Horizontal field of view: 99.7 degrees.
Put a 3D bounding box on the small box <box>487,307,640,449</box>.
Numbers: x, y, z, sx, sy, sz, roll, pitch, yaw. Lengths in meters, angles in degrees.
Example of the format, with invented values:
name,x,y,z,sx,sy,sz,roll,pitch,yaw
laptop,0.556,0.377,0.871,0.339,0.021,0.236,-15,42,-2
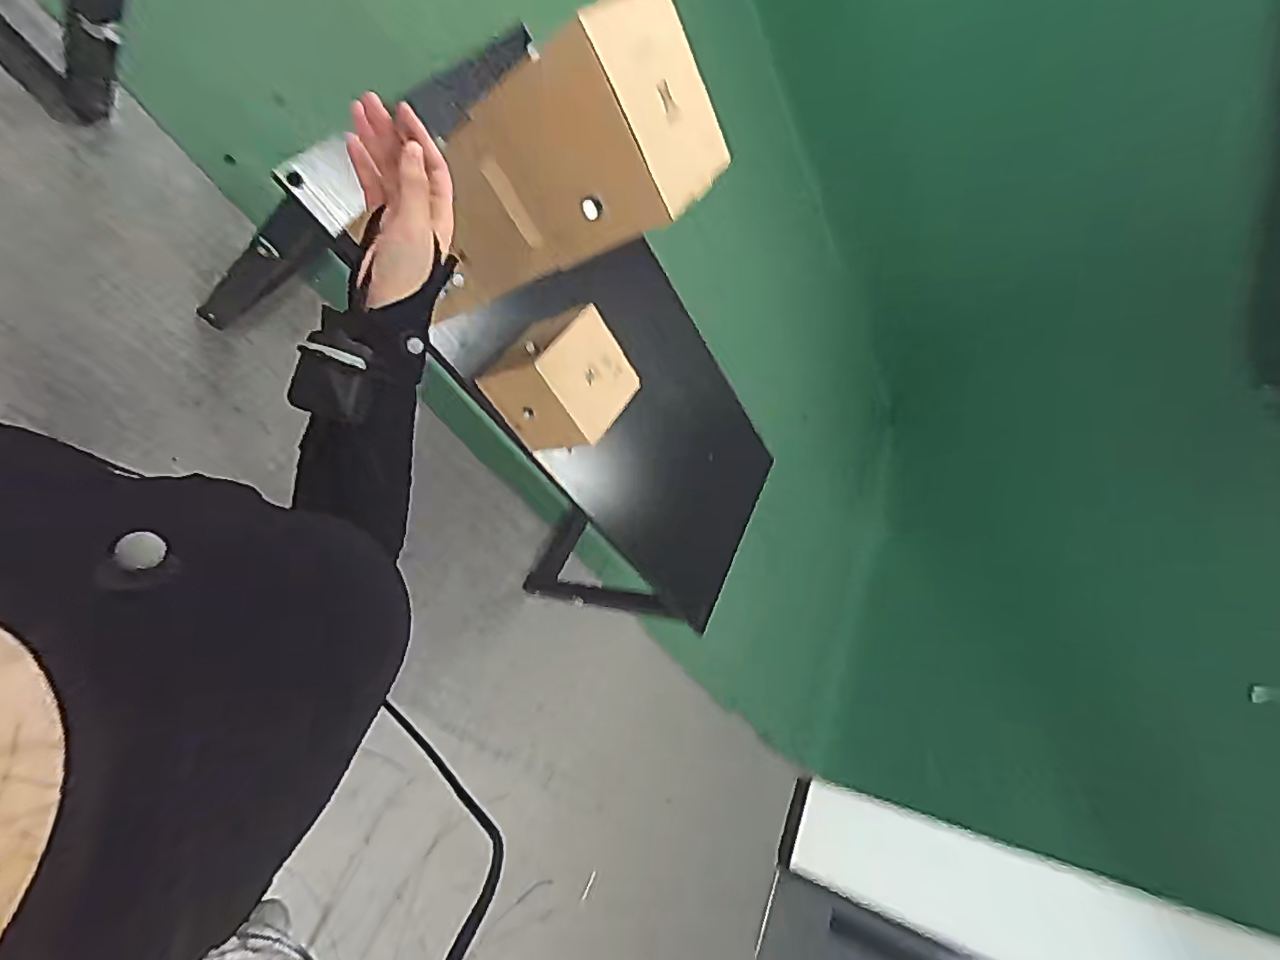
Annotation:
name,x,y,z,sx,sy,sz,roll,pitch,yaw
small box,-0.138,-0.167,0.938,0.179,0.176,0.168,-56,127,-33

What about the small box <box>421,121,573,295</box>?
name,x,y,z,sx,sy,sz,roll,pitch,yaw
small box,-0.148,-0.362,0.689,0.168,0.176,0.179,57,50,-31

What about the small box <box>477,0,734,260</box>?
name,x,y,z,sx,sy,sz,roll,pitch,yaw
small box,-0.031,-0.358,0.575,0.179,0.176,0.168,56,49,-30
